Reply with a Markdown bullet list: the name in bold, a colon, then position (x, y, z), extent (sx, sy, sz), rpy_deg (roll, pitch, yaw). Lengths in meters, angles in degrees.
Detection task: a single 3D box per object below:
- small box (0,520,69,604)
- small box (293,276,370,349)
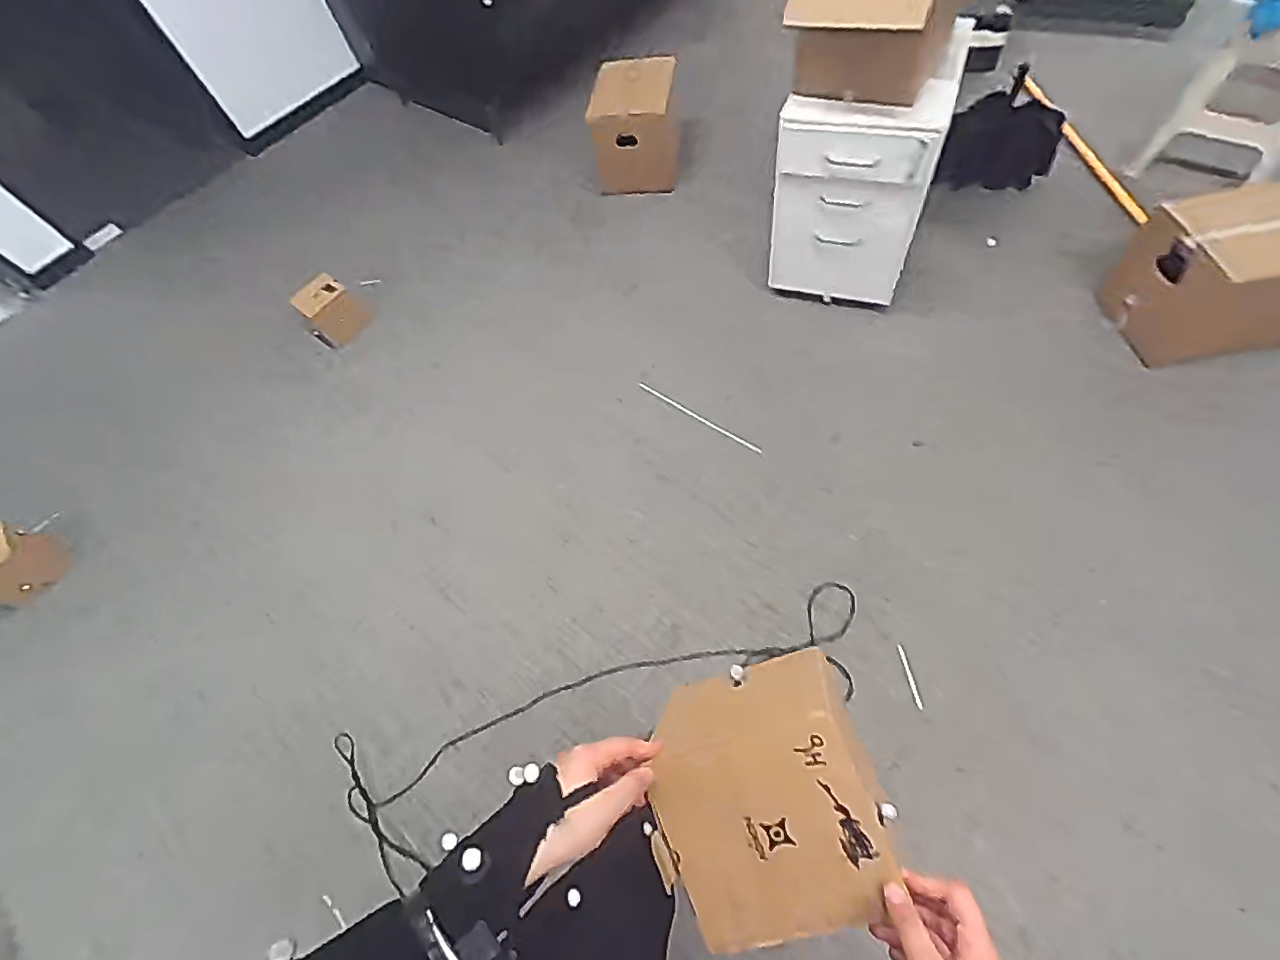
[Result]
- **small box**: position (-1.984, 0.265, 1.710), extent (0.168, 0.176, 0.179), rpy_deg (-43, 63, -14)
- **small box**: position (-1.181, -0.643, 2.090), extent (0.168, 0.176, 0.179), rpy_deg (35, 72, 25)
